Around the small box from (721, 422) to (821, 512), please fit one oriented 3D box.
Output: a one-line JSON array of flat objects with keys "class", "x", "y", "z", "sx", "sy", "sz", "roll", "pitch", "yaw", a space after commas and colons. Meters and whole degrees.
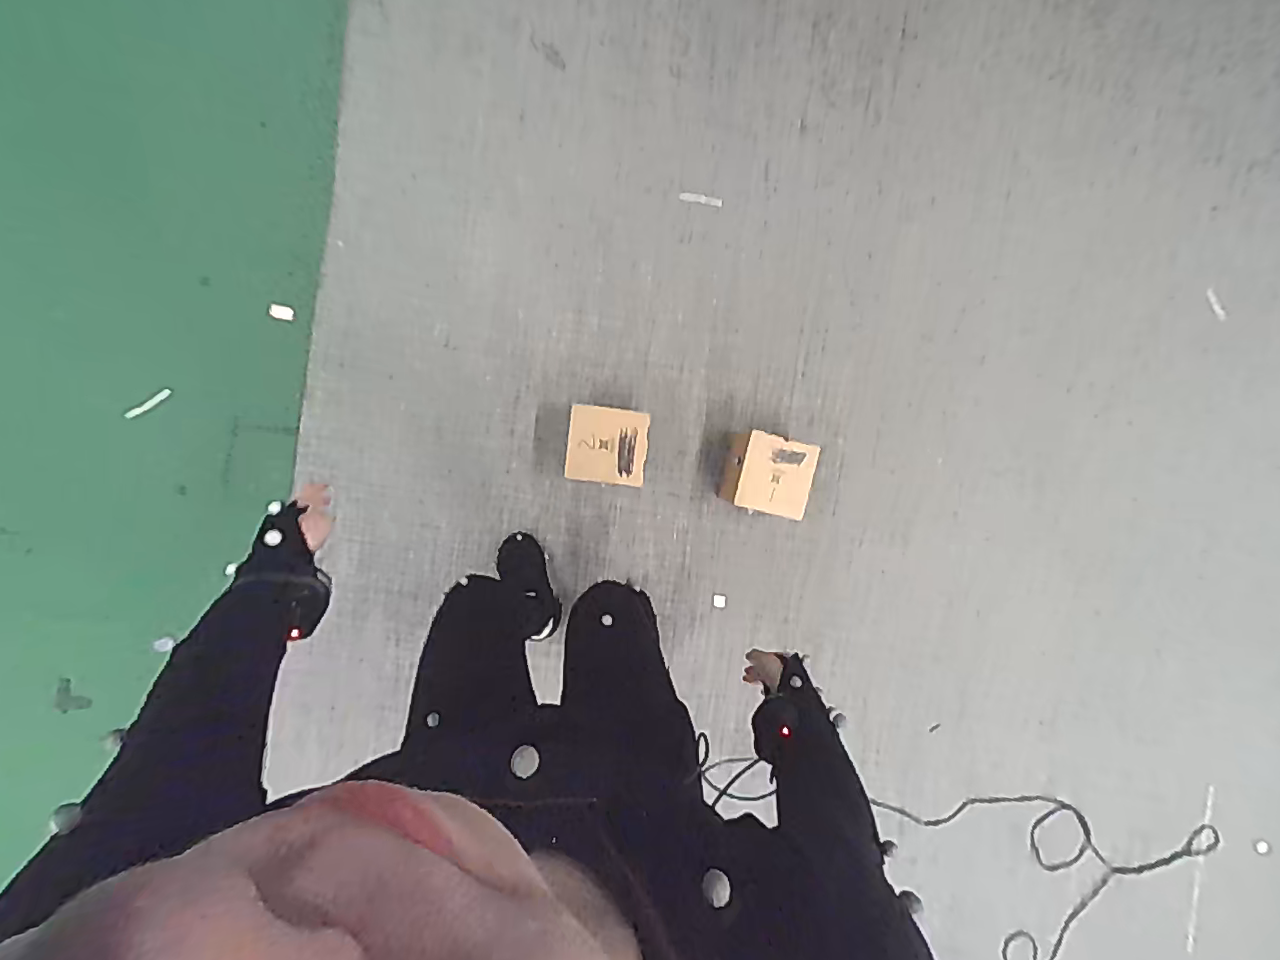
[{"class": "small box", "x": 0.305, "y": -0.033, "z": 1.298, "sx": 0.168, "sy": 0.176, "sz": 0.179, "roll": 13, "pitch": 93, "yaw": -5}]
